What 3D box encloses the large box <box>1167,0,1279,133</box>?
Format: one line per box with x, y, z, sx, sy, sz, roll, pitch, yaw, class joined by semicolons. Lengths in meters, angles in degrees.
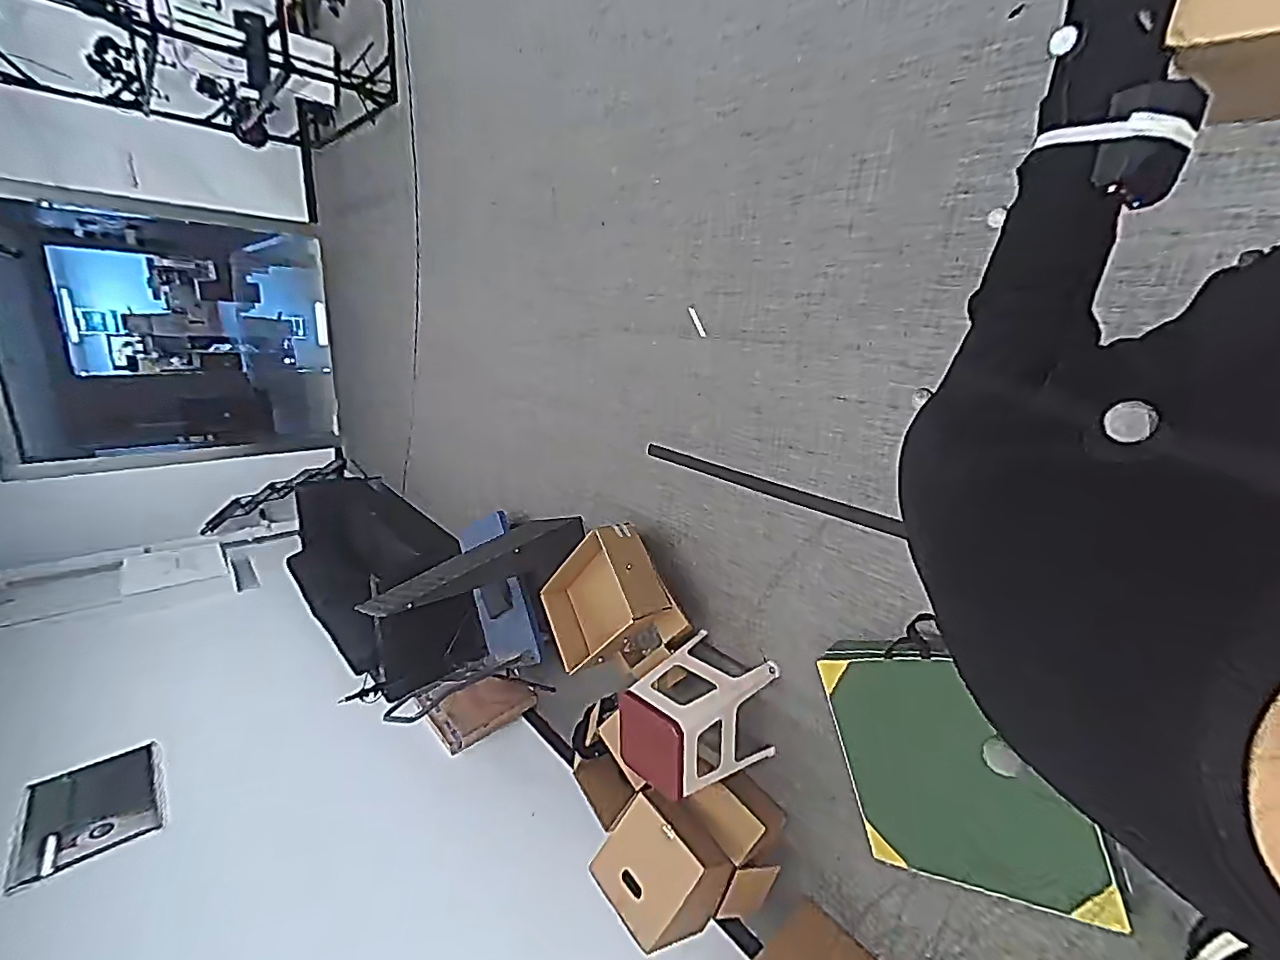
0.602;-0.402;0.274;0.408;0.320;0.320;25;123;42;large box
